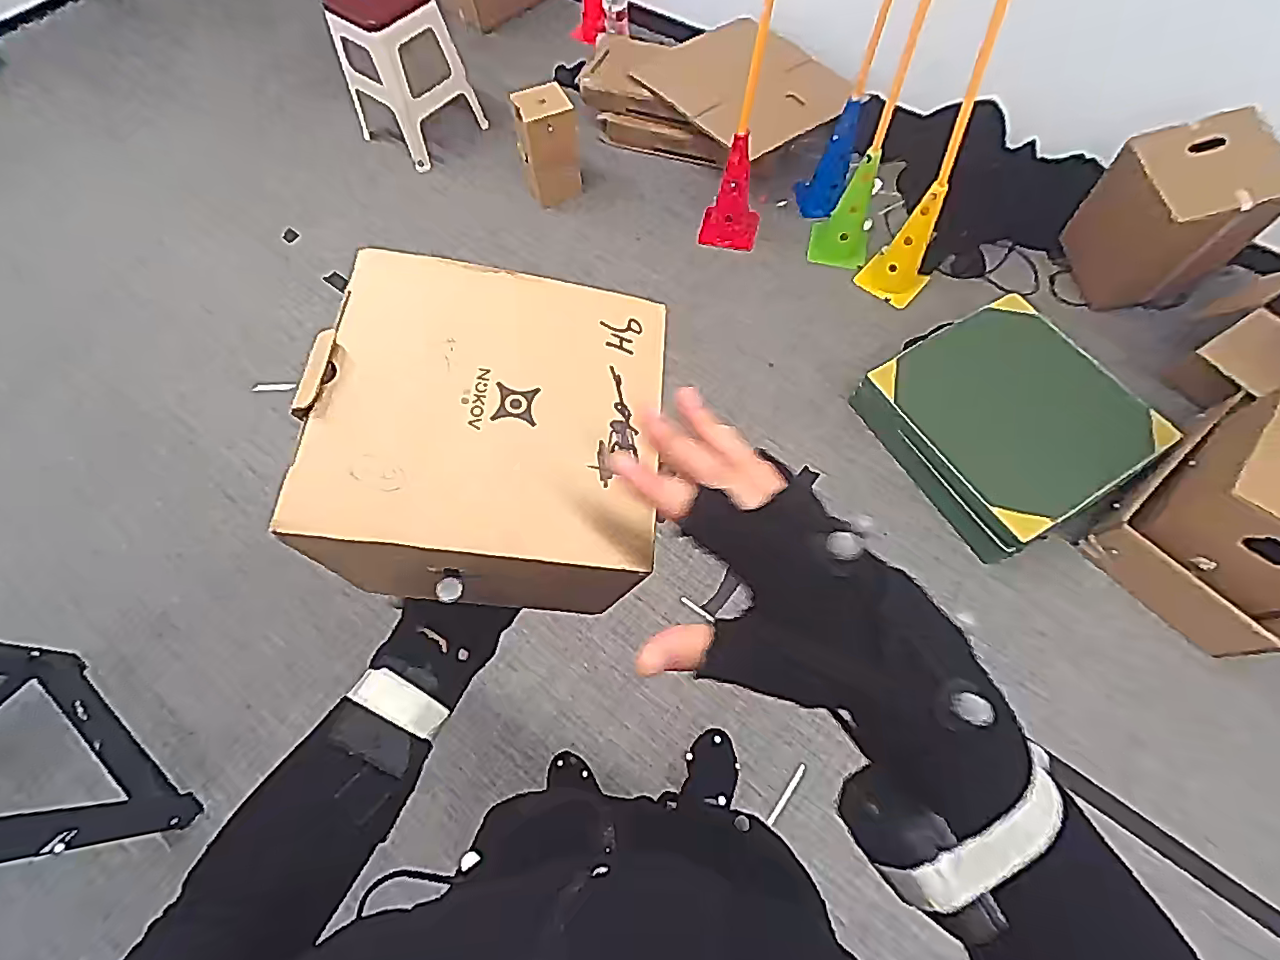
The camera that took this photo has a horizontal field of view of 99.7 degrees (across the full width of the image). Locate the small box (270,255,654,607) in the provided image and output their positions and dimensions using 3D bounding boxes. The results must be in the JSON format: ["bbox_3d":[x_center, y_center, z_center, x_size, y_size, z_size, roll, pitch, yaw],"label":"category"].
[{"bbox_3d":[-0.094,-0.013,0.357,0.179,0.176,0.168,6,68,-11],"label":"small box"}]
